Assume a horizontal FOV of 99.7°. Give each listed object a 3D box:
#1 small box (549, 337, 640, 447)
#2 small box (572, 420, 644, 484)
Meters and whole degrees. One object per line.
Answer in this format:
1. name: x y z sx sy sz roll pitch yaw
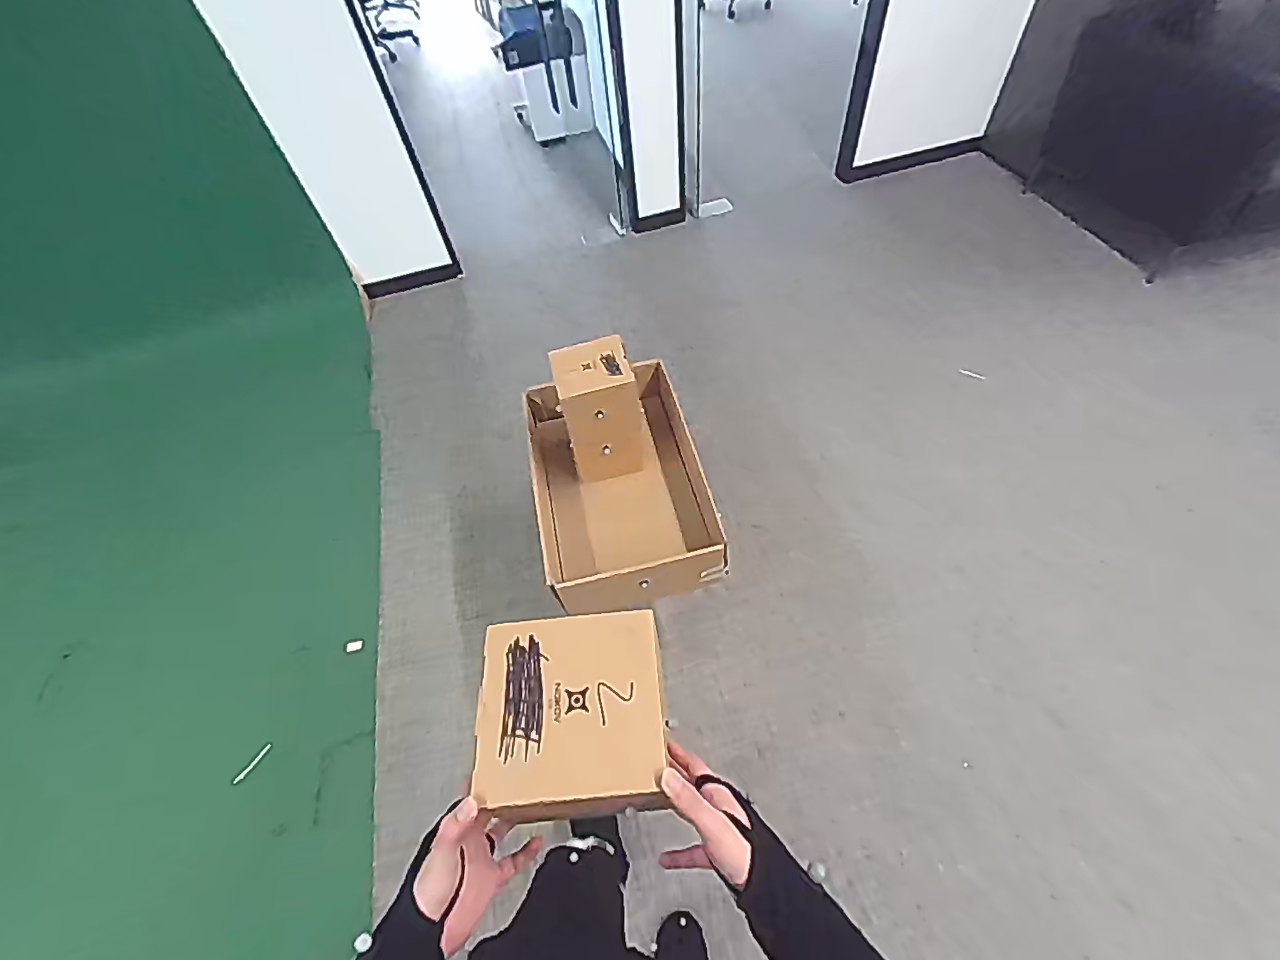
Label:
1. small box: -0.102 -0.205 1.282 0.179 0.176 0.168 -15 55 -4
2. small box: -0.089 -0.114 1.419 0.179 0.176 0.168 -13 55 -4
